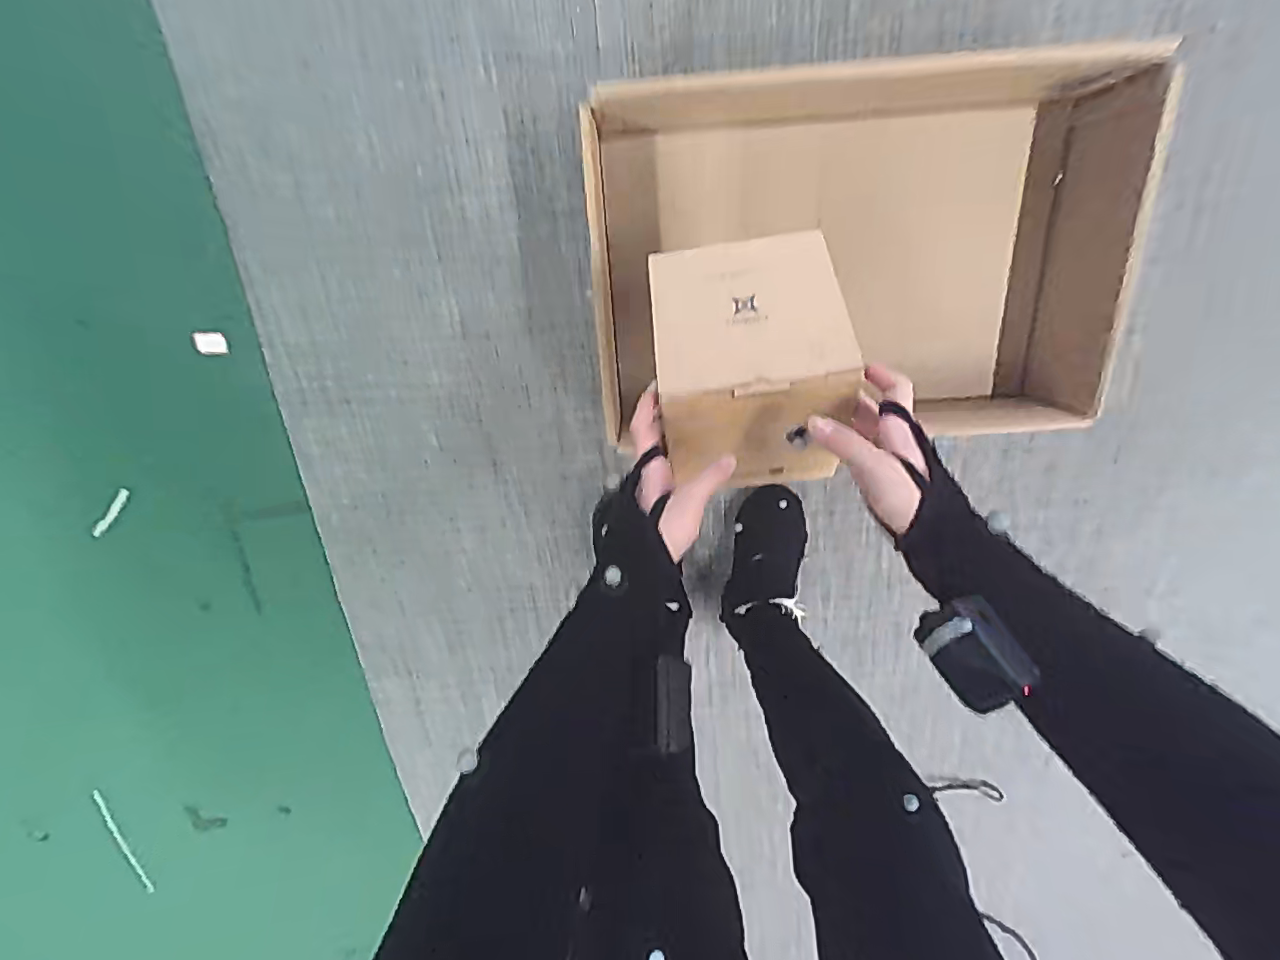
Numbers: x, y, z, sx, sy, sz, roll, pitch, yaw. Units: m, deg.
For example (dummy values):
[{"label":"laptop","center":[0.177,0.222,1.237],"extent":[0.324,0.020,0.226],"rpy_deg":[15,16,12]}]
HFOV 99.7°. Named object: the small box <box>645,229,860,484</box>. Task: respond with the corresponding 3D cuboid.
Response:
[{"label":"small box","center":[0.099,-0.107,0.530],"extent":[0.168,0.179,0.176],"rpy_deg":[-6,150,6]}]
